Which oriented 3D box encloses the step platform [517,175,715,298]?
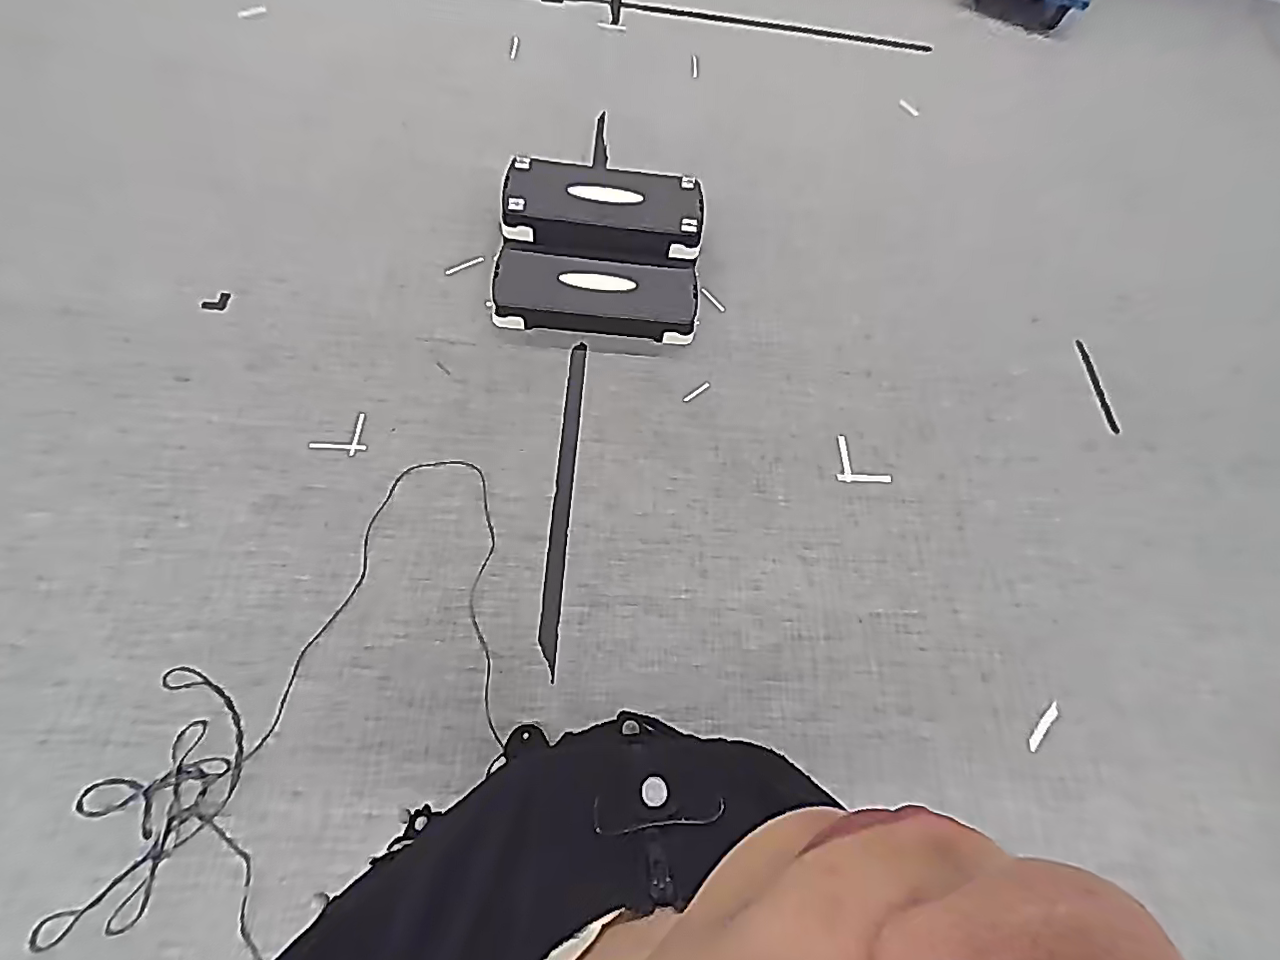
[{"bbox_3d":[-0.081,-0.854,1.901,0.684,0.204,0.286,8,64,-3],"label":"step platform"}]
